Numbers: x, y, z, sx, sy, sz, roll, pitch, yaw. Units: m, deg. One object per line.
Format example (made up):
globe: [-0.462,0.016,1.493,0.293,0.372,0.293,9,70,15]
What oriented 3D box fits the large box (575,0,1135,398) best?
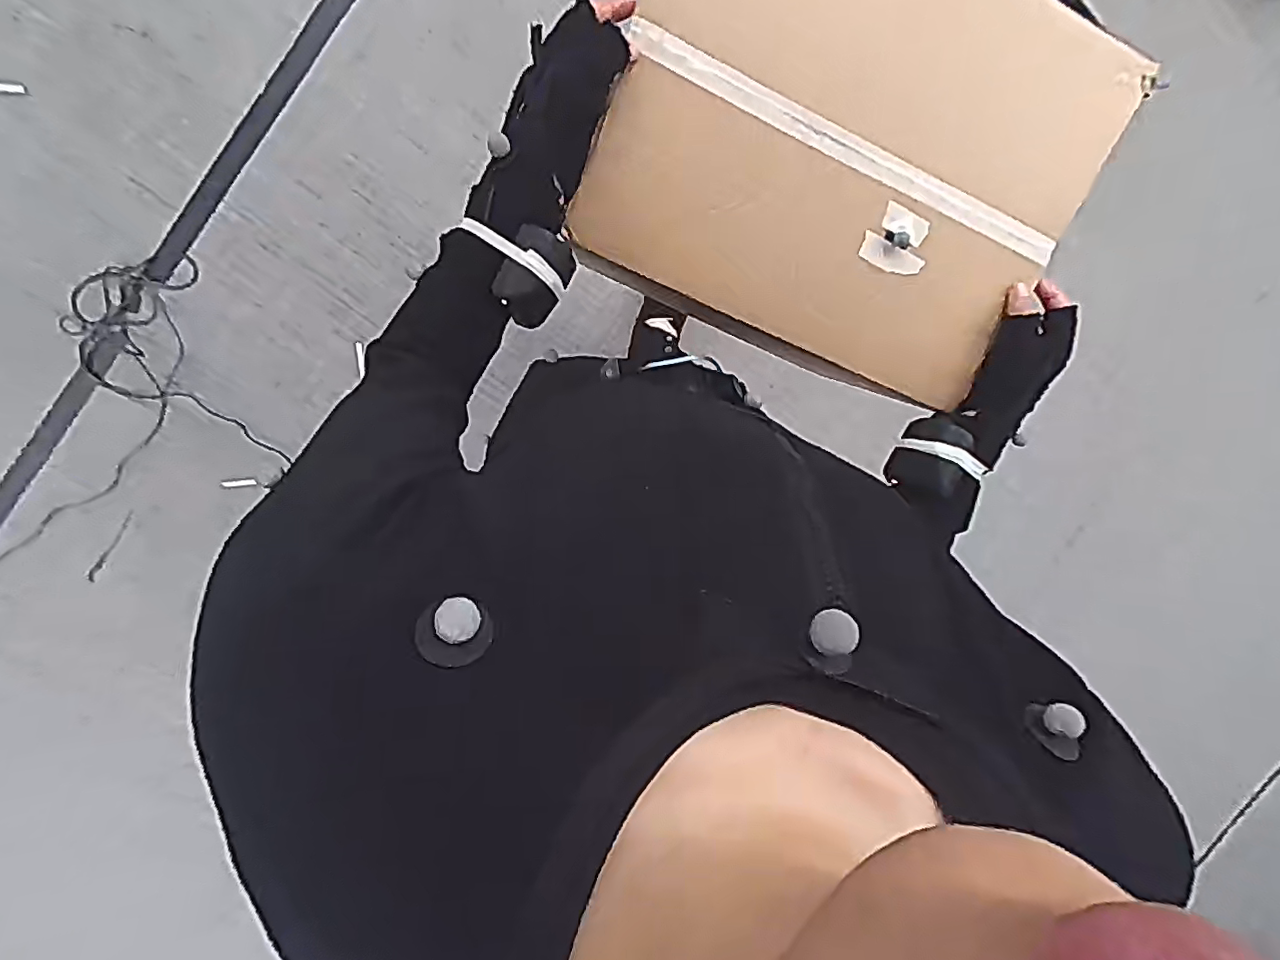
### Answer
large box: [0.168,-0.327,0.599,0.408,0.320,0.320,21,106,-11]
